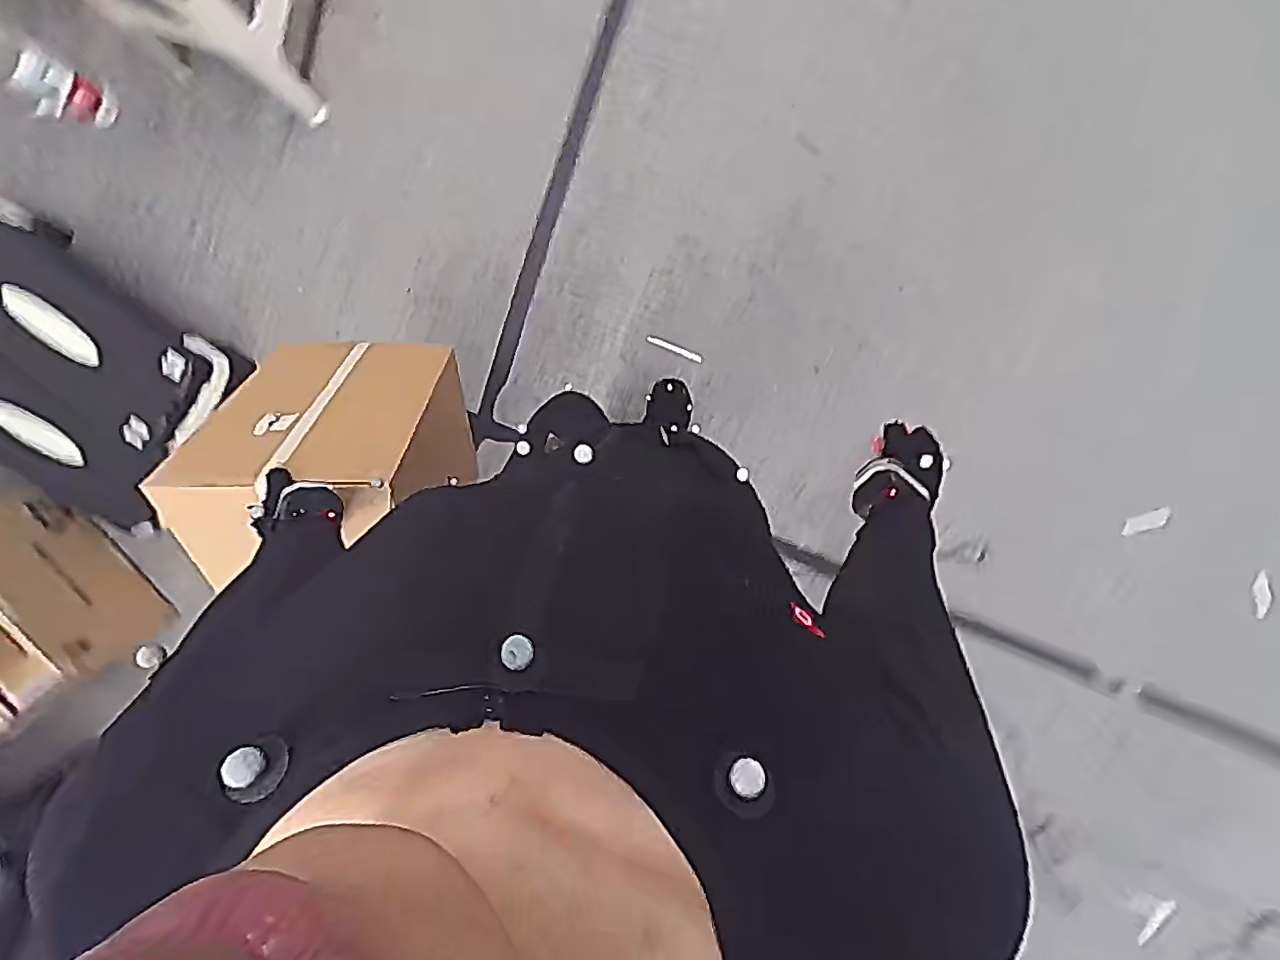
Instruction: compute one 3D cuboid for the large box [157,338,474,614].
[{"bbox_3d":[-0.502,-0.017,0.962,0.320,0.408,0.320,0,131,-3],"label":"large box"}]
